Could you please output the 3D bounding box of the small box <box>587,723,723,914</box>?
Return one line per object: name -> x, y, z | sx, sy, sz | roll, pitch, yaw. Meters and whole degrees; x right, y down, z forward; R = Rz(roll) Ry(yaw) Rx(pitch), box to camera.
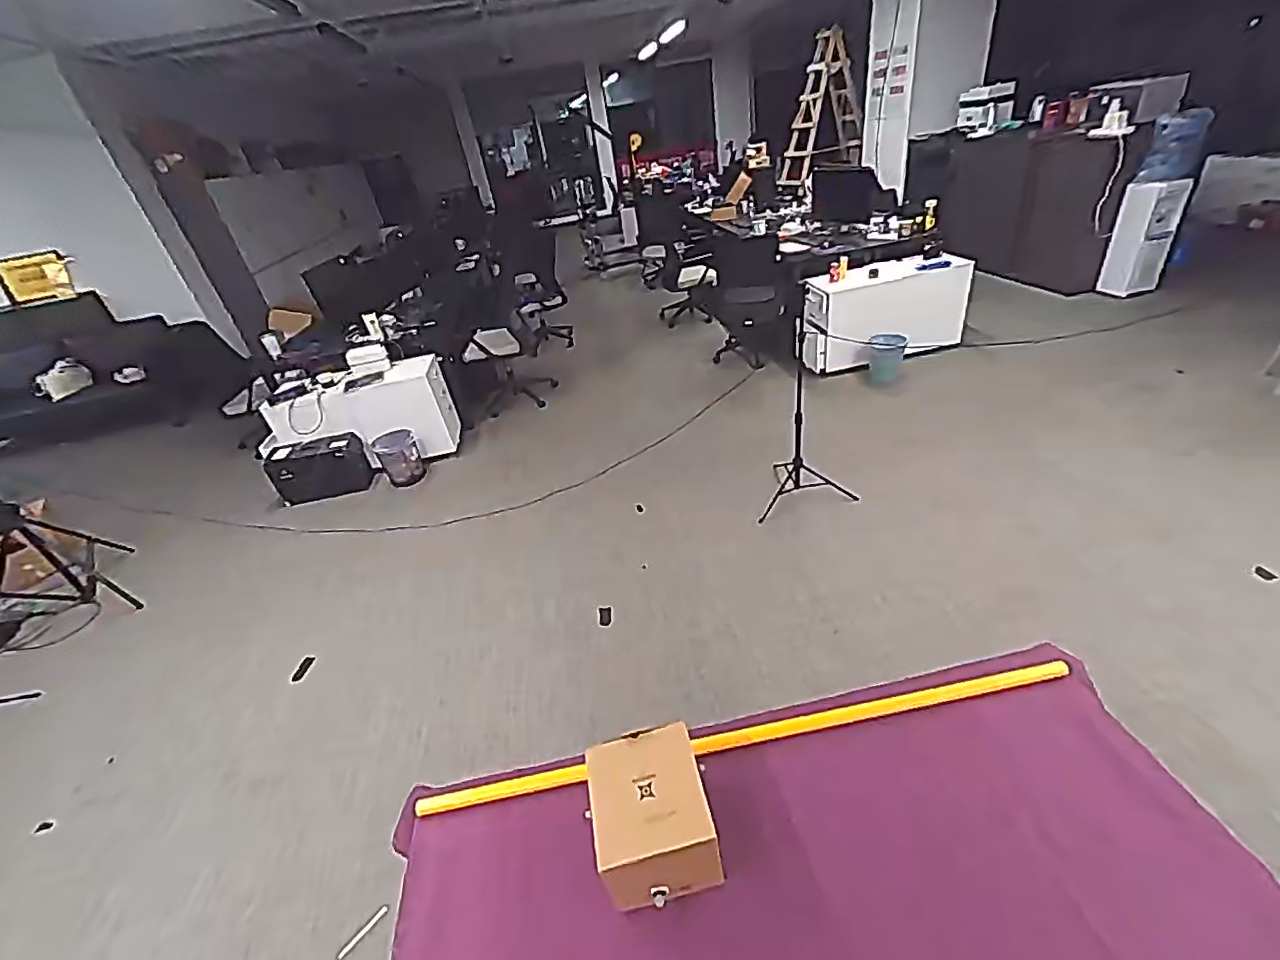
small box -> 0.021, 0.514, 0.828 | 0.168, 0.176, 0.179 | -14, 34, -4
